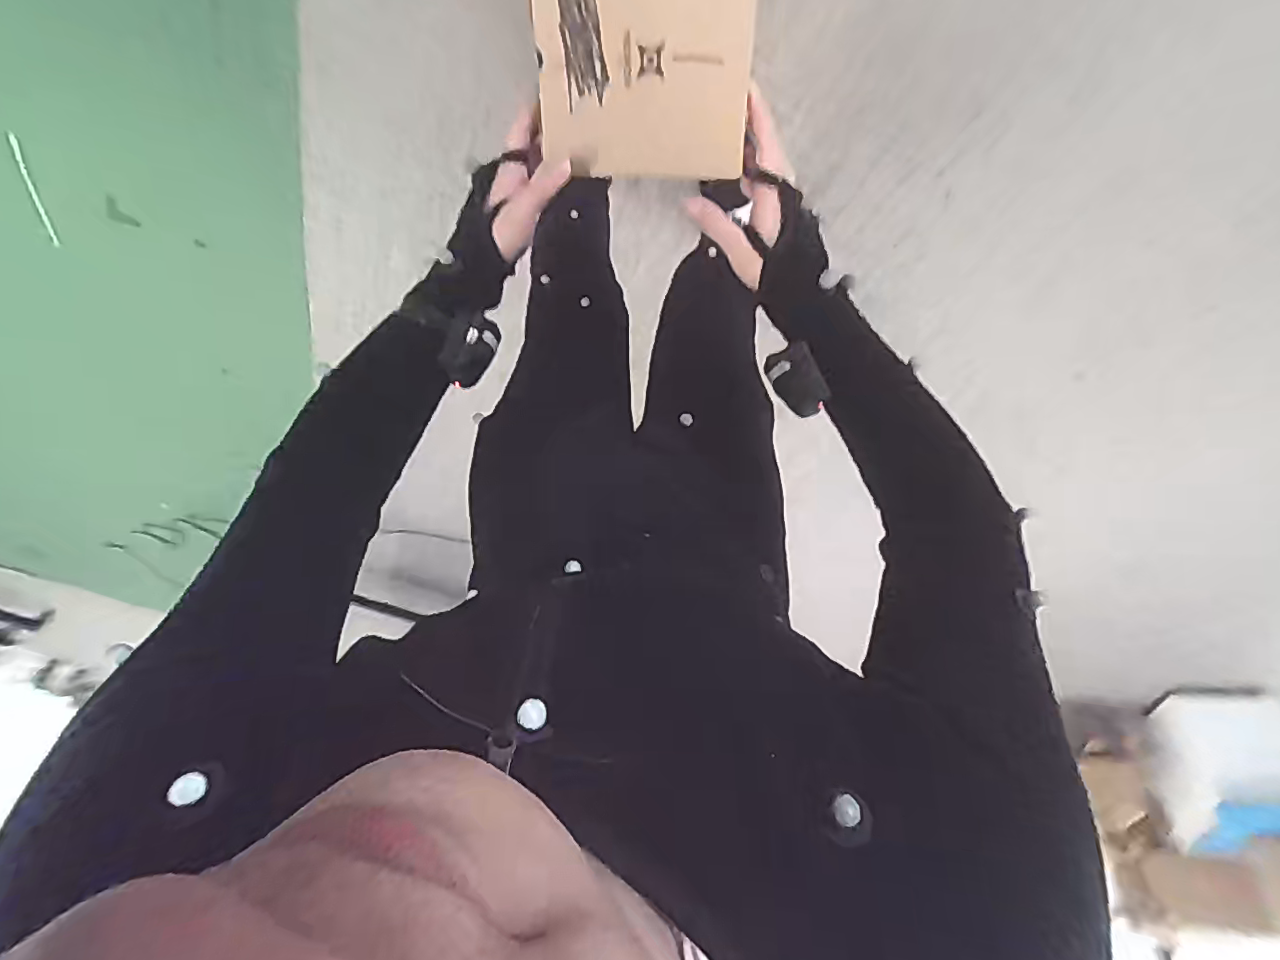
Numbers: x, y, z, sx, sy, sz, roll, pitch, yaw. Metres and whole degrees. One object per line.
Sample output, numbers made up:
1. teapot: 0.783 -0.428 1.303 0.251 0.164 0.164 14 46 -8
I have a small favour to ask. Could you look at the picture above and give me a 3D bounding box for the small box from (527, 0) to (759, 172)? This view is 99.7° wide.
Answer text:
1. small box: 0.011 -0.377 0.483 0.179 0.176 0.168 3 126 6
